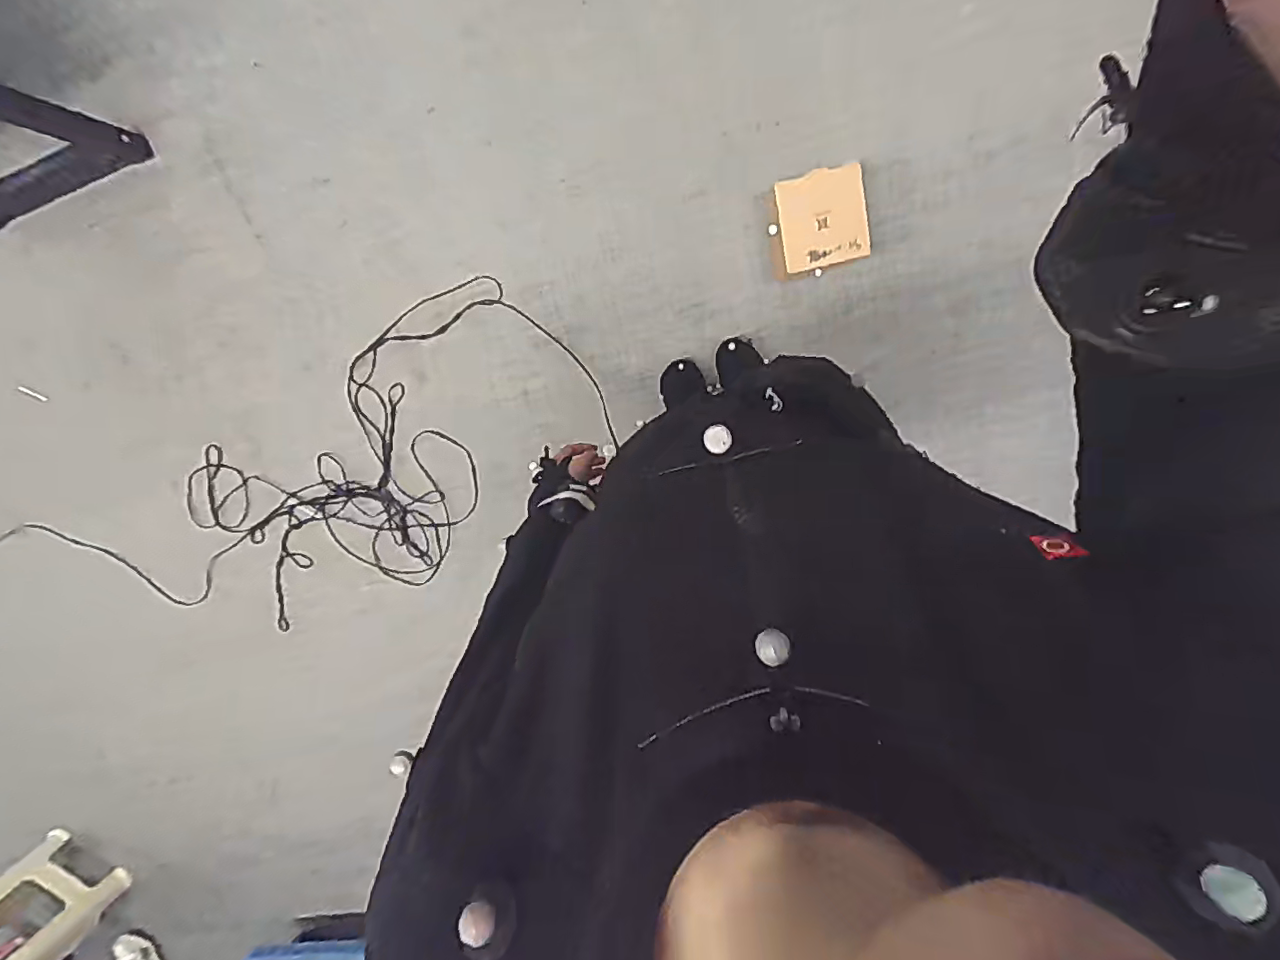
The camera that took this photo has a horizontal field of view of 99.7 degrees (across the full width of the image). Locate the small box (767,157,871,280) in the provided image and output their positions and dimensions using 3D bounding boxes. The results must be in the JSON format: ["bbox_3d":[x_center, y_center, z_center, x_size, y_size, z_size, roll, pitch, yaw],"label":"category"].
[{"bbox_3d":[0.367,-0.537,1.135,0.168,0.176,0.179,-11,102,10],"label":"small box"}]
